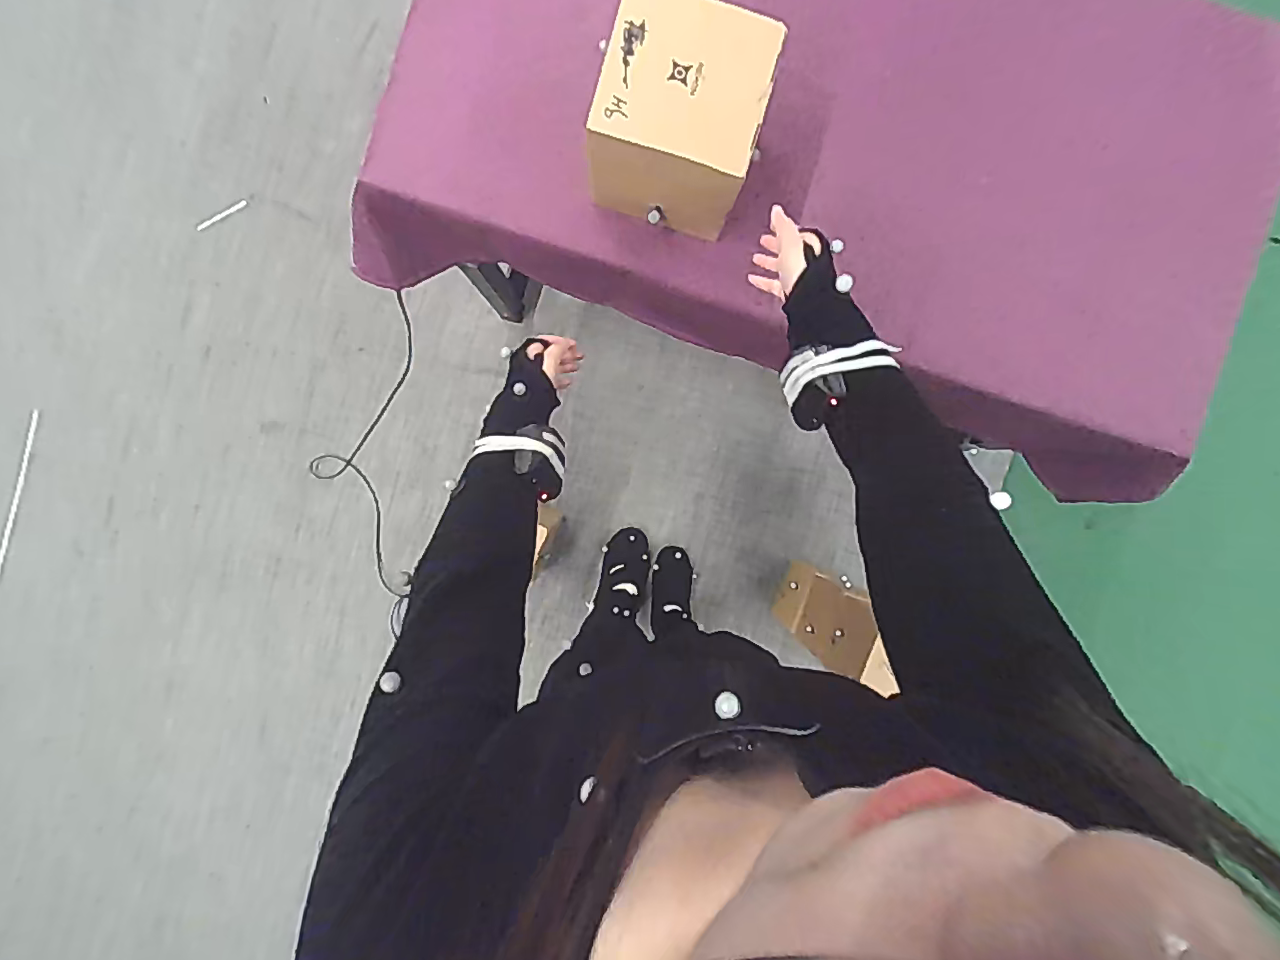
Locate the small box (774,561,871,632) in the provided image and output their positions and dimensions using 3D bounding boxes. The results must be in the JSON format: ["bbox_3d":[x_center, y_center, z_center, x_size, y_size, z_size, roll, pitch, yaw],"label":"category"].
[{"bbox_3d":[0.475,0.324,1.425,0.179,0.176,0.168,21,91,-4],"label":"small box"}]

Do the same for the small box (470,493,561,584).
[{"bbox_3d":[-0.309,0.143,1.382,0.168,0.176,0.179,21,91,-4],"label":"small box"}]

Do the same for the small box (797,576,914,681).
[{"bbox_3d":[0.491,0.336,1.263,0.179,0.176,0.168,19,93,-4],"label":"small box"}]

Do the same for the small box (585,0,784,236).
[{"bbox_3d":[0.043,-0.418,0.644,0.179,0.176,0.168,16,91,-4],"label":"small box"}]
